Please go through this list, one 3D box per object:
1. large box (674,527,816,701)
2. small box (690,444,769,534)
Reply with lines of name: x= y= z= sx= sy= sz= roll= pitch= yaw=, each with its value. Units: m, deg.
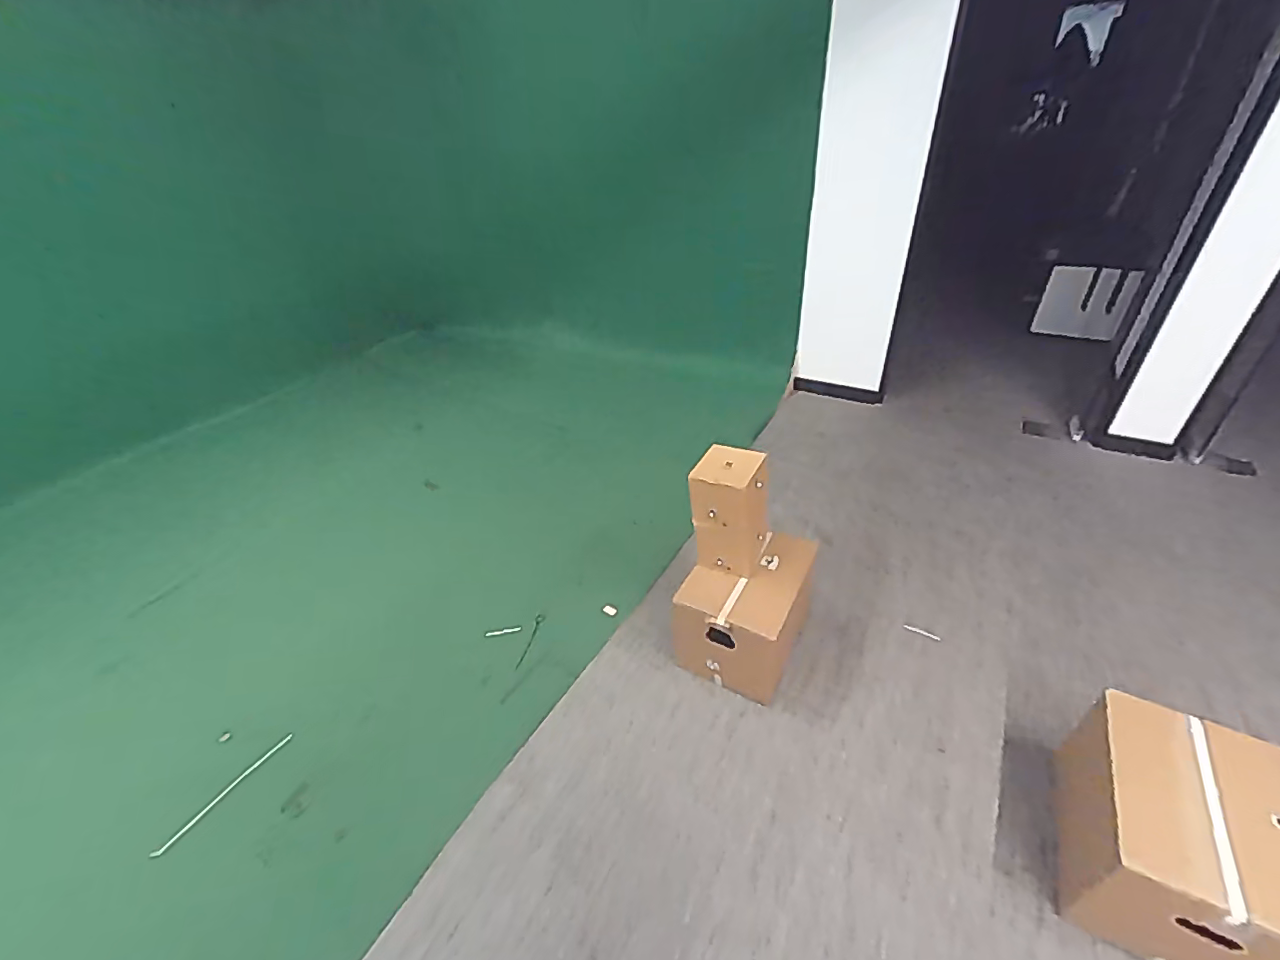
large box: x=0.336 y=0.401 z=1.706 sx=0.320 sy=0.320 sz=0.408 roll=16 pitch=41 yaw=27
small box: x=0.257 y=0.023 z=1.540 sx=0.168 sy=0.176 sz=0.179 roll=14 pitch=42 yaw=29
